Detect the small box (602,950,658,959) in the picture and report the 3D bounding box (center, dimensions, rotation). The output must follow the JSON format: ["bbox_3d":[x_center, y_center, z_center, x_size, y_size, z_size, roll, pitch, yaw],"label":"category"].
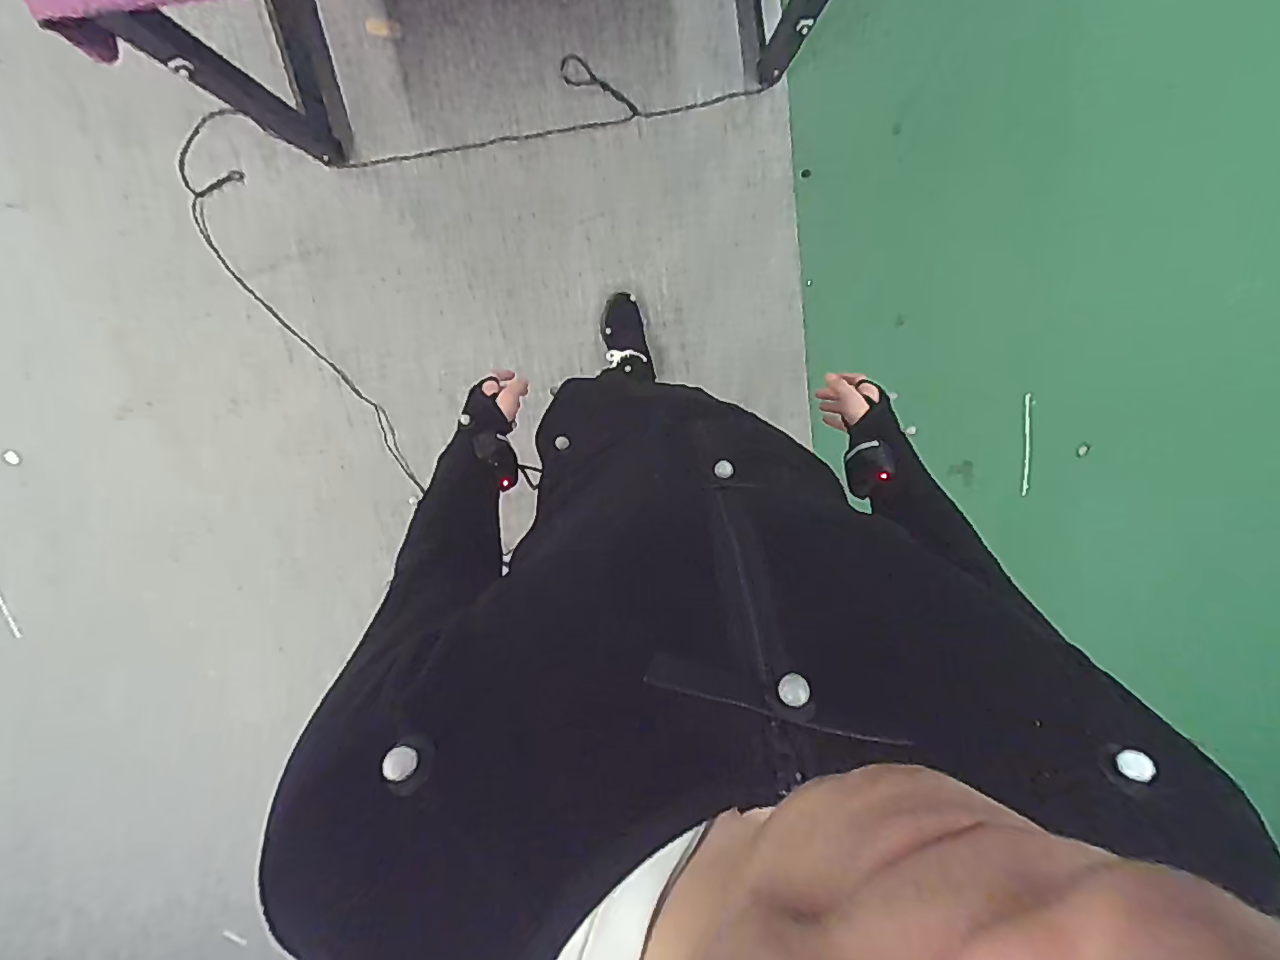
[{"bbox_3d":[-0.017,1.422,1.460,0.168,0.176,0.179,-16,105,0],"label":"small box"}]
